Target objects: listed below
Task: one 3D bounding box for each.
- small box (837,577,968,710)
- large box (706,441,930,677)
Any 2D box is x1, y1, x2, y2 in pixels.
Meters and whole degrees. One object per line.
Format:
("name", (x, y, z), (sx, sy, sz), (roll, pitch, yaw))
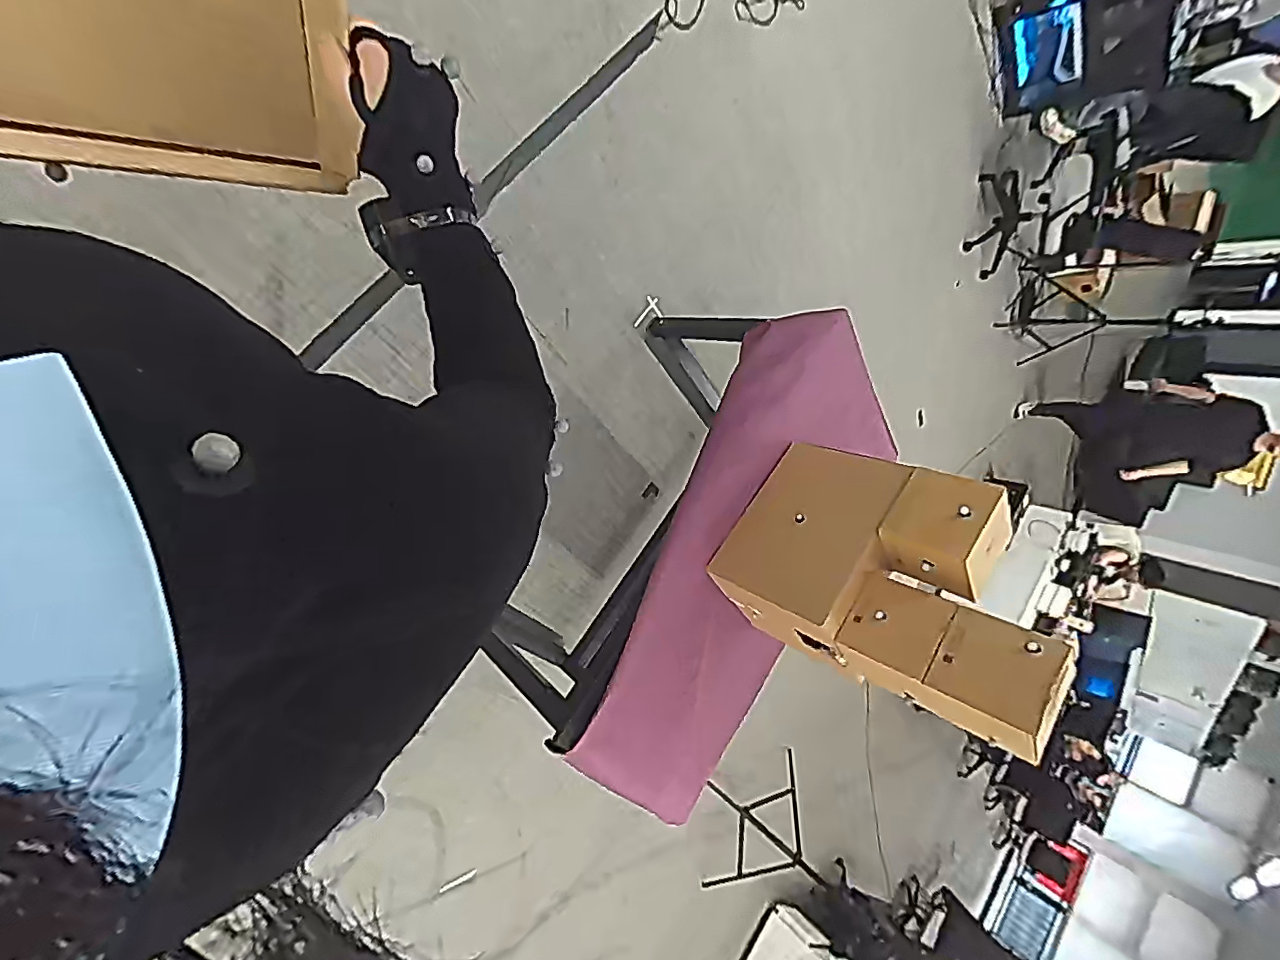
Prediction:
("small box", (0.520, 0.318, 1.073), (0.168, 0.176, 0.179), (-54, 132, -16))
("large box", (0.427, 0.174, 1.282), (0.408, 0.320, 0.320), (-54, 133, -16))
